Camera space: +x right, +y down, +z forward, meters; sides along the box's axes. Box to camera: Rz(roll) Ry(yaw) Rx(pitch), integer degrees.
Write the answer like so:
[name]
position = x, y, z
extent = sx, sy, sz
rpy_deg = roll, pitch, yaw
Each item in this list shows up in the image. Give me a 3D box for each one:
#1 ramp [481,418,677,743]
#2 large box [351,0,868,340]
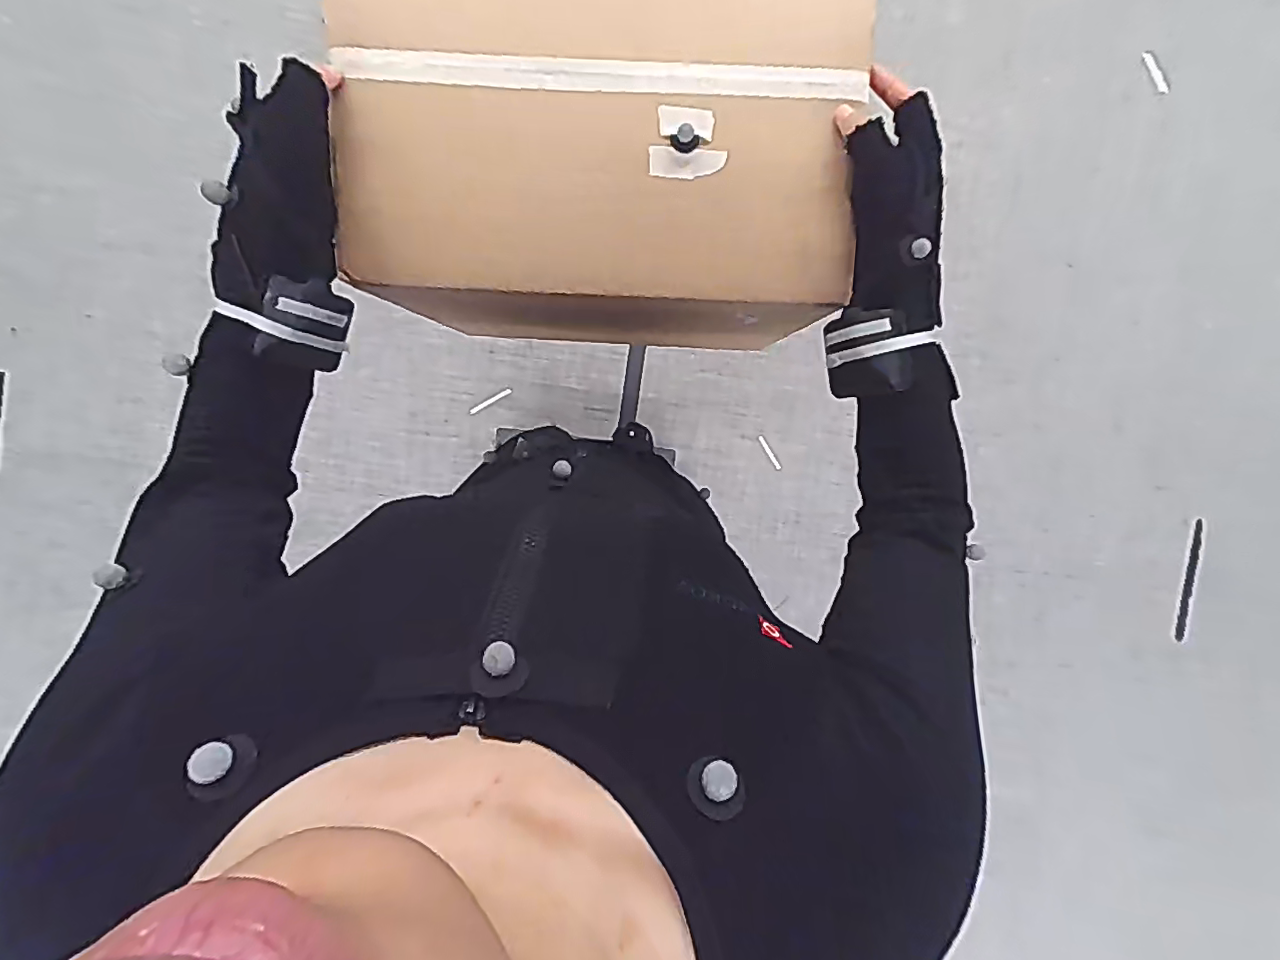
[ramp]
position = -0.199, 0.335, 1.594
extent = 0.509, 0.206, 0.991
rpy_deg = 5, 95, -3
[large box]
position = -0.028, -0.329, 0.568
extent = 0.408, 0.320, 0.320
rpy_deg = 2, 98, -1
